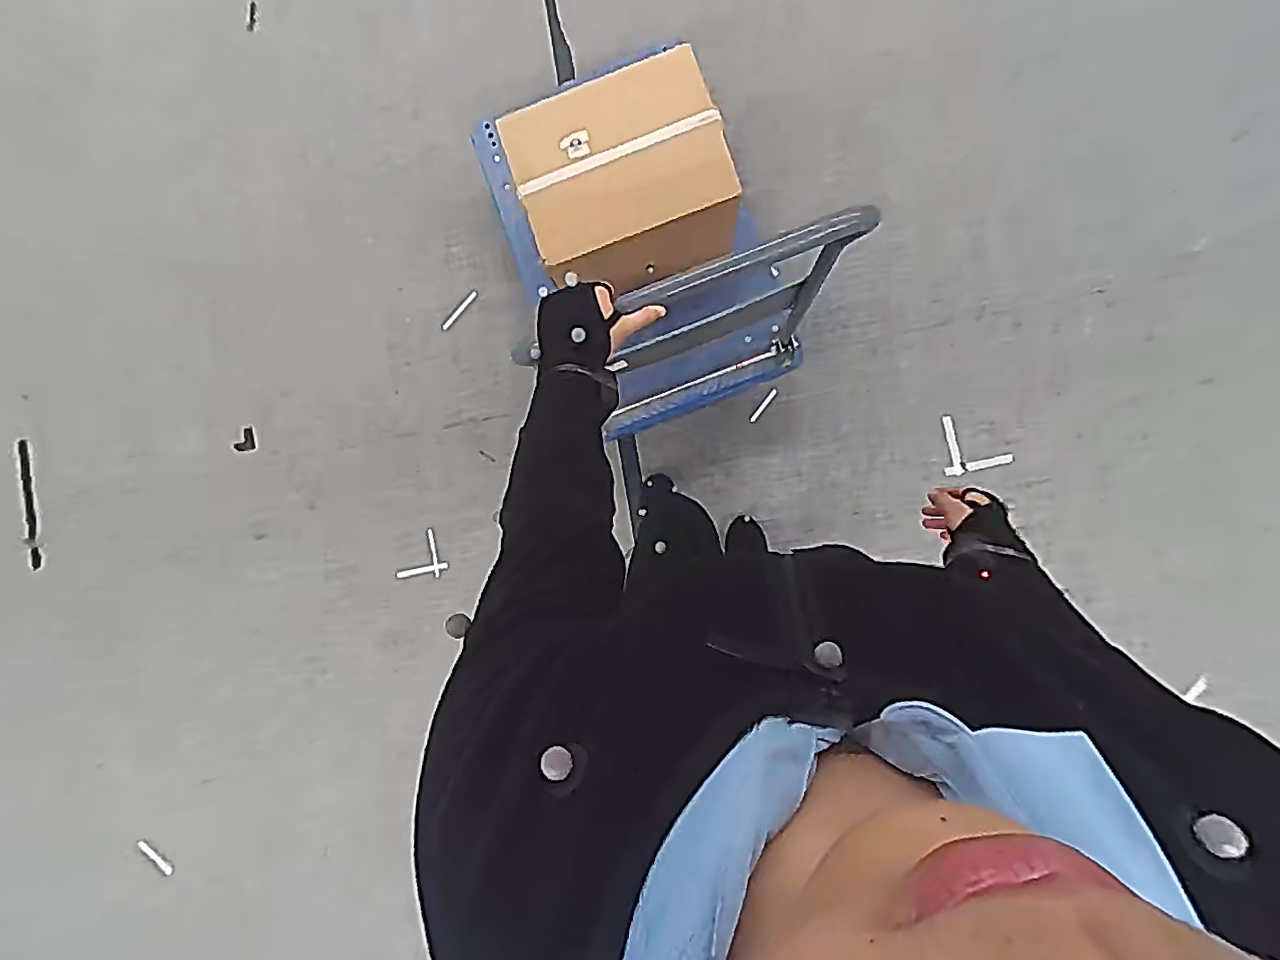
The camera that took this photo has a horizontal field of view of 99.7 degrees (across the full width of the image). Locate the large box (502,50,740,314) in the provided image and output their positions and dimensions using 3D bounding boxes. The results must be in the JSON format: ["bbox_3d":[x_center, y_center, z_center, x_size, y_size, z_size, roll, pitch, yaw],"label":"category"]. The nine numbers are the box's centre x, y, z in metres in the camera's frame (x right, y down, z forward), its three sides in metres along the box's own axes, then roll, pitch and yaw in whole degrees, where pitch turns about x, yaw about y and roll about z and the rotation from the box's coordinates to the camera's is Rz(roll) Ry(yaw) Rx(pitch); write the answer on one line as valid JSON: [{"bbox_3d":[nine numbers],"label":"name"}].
[{"bbox_3d":[-0.026,-0.621,1.201,0.408,0.320,0.320,-20,87,6],"label":"large box"}]
